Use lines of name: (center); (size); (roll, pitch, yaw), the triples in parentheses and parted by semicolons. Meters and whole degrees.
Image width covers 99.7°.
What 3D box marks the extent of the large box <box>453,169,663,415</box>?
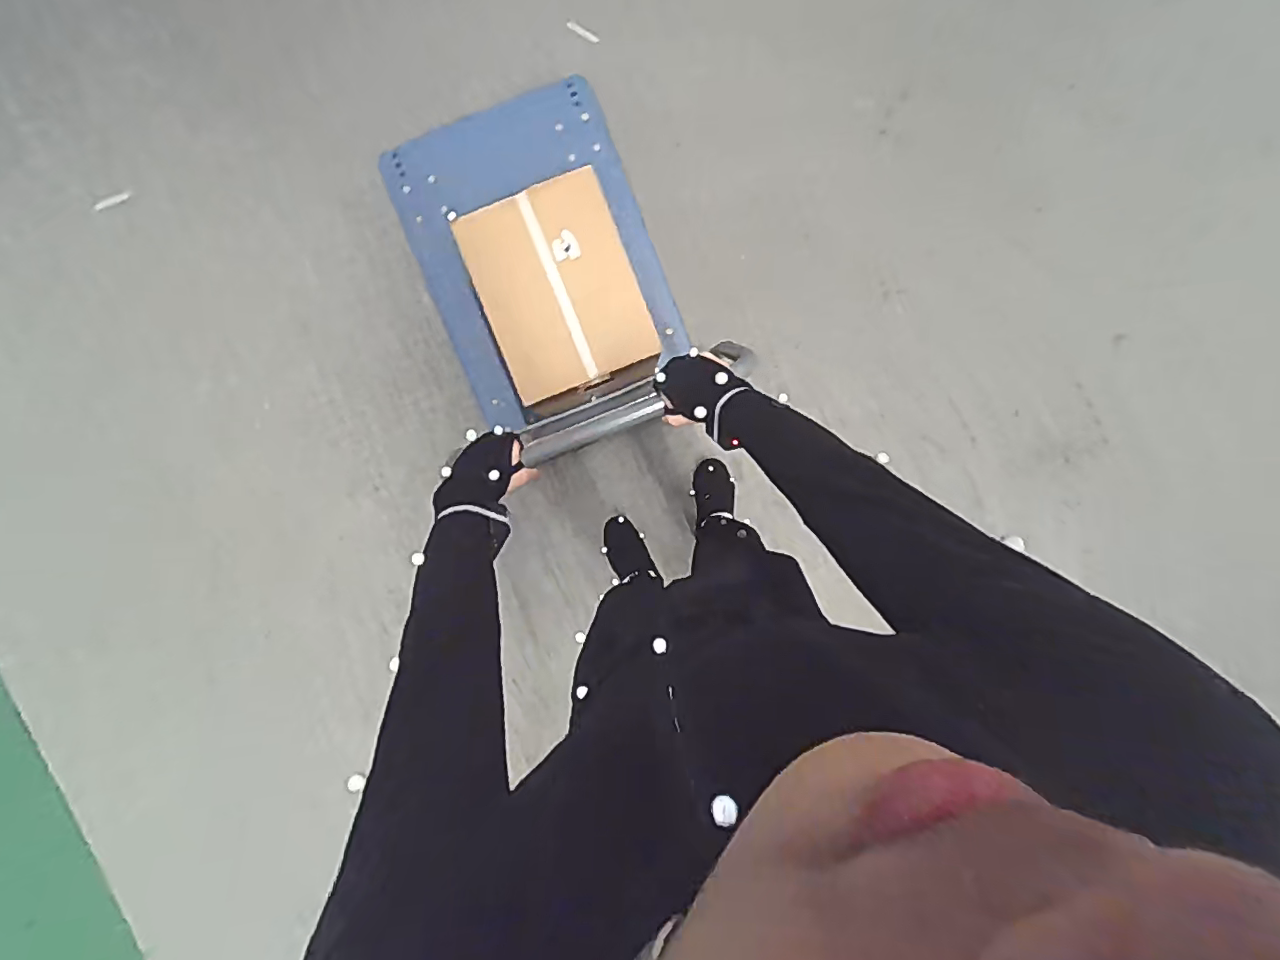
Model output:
large box: (-0.166, -0.399, 1.252); (0.320, 0.320, 0.408); (-22, 93, -1)
